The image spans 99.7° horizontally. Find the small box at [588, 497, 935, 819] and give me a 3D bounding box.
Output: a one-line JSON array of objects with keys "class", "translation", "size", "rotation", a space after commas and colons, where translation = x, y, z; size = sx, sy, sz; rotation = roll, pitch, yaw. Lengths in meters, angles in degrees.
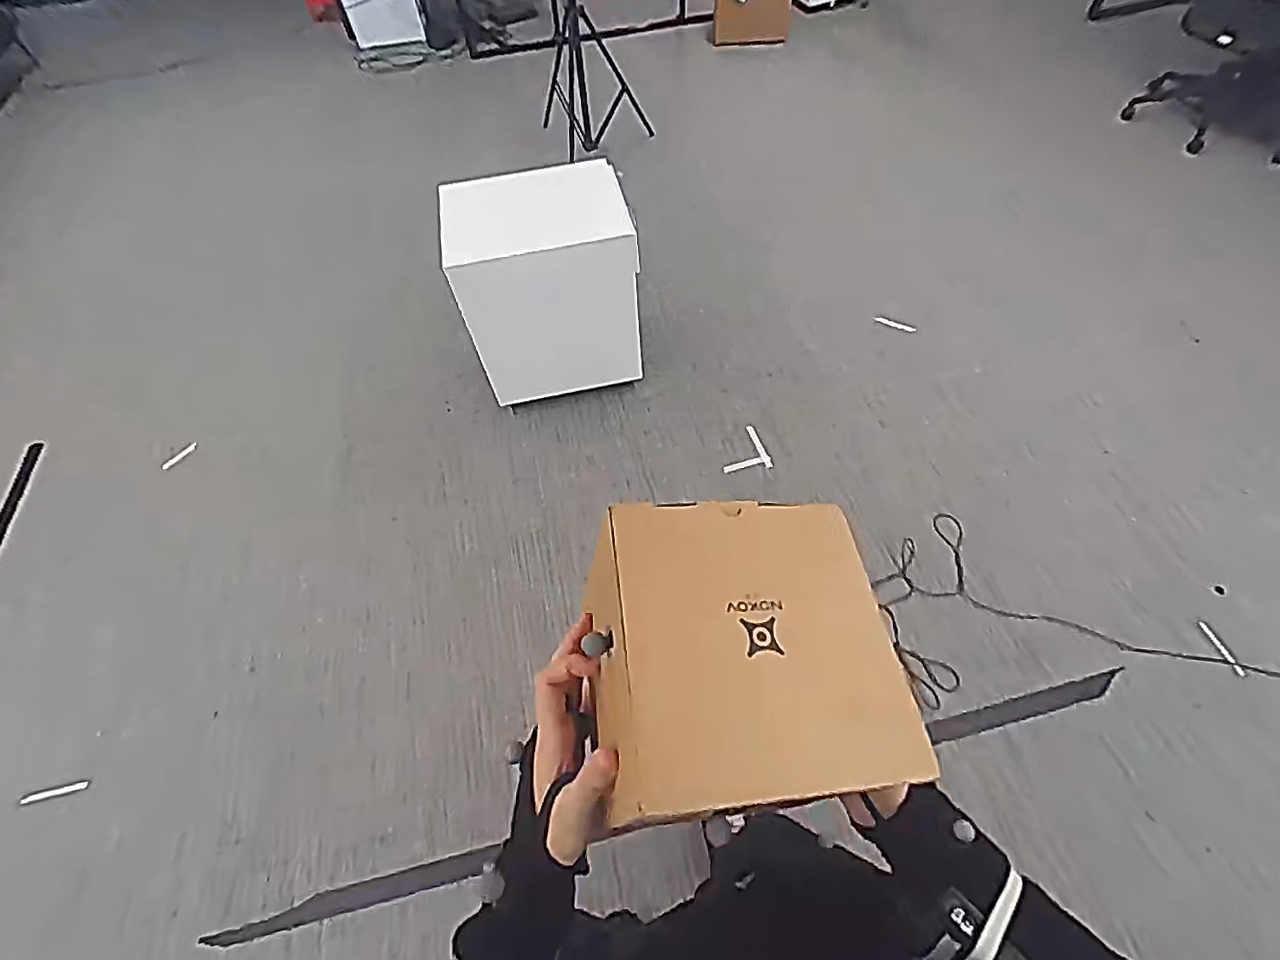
[{"class": "small box", "translation": [0.056, 0.129, 0.383], "size": [0.168, 0.176, 0.179], "rotation": [0, 55, -13]}]
